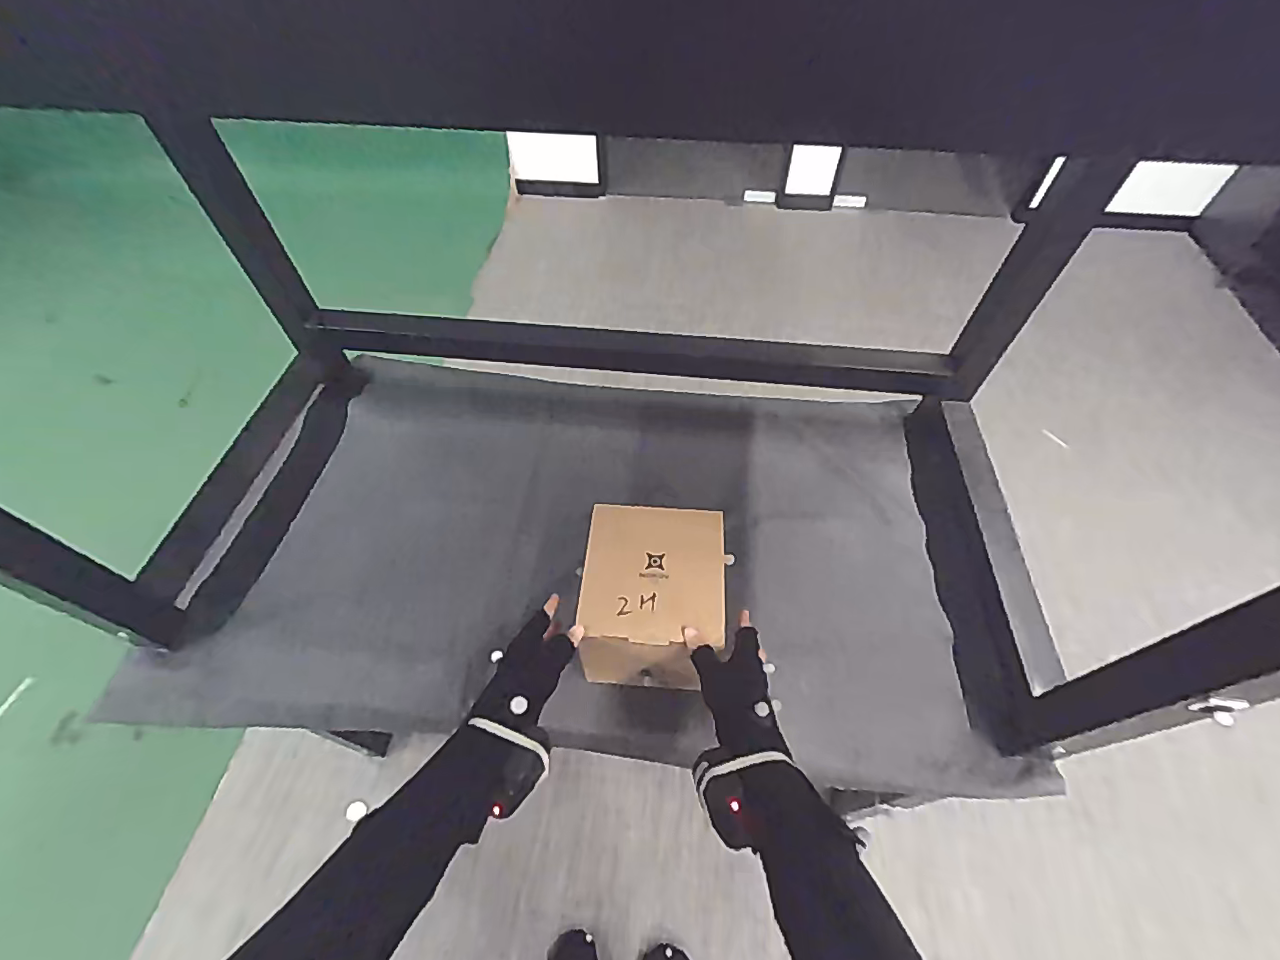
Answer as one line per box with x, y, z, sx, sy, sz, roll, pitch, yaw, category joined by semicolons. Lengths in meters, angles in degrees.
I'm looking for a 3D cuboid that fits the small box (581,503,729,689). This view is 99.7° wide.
0.023;0.152;0.704;0.168;0.176;0.179;3;53;3;small box
